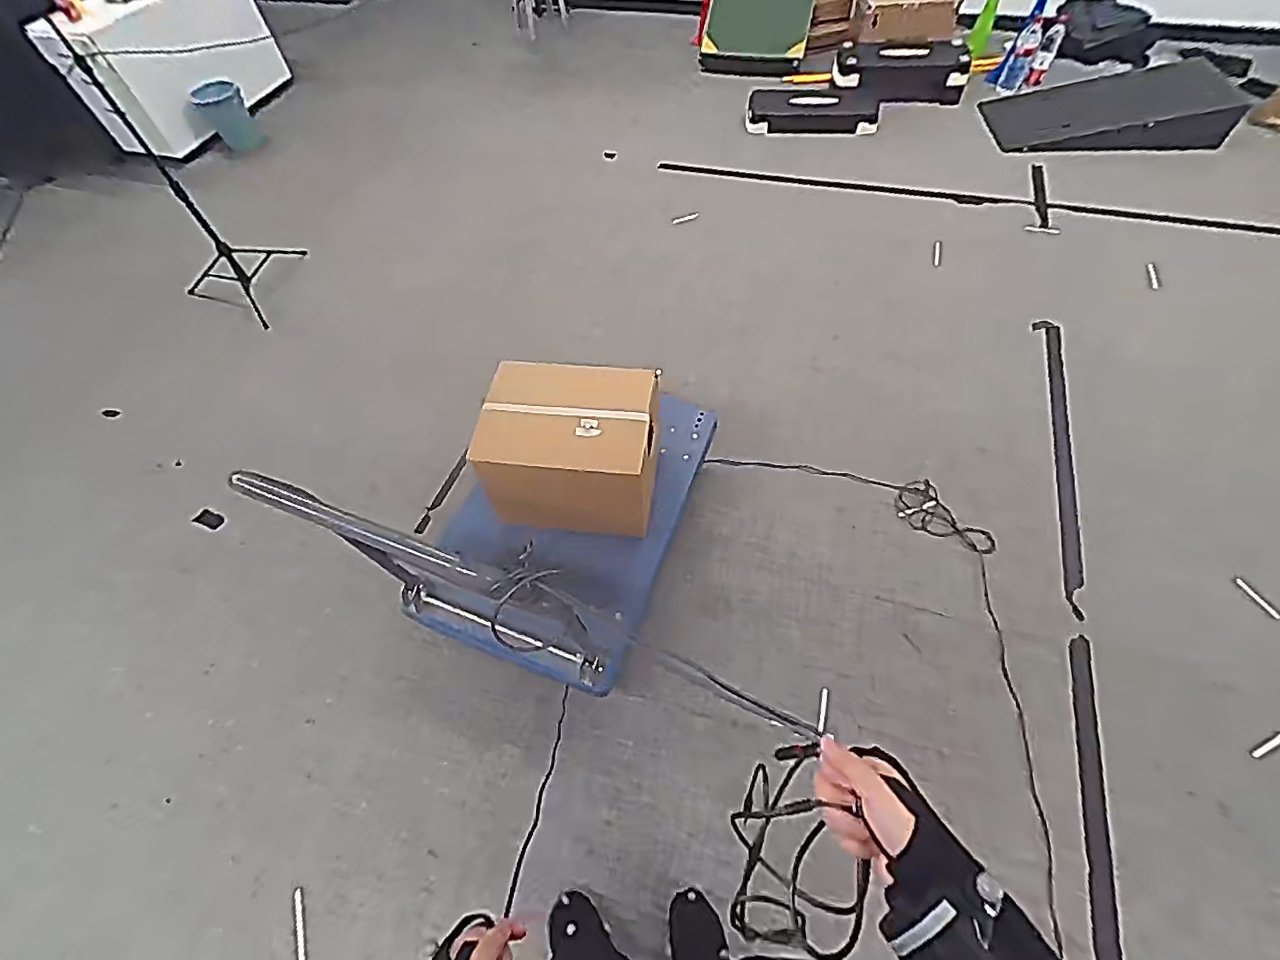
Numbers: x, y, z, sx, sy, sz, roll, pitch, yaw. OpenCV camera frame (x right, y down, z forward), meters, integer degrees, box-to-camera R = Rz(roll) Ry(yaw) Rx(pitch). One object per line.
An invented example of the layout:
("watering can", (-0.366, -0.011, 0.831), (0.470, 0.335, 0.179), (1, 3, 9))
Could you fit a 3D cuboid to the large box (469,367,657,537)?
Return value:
("large box", (-0.171, -0.067, 1.404), (0.408, 0.320, 0.320), (5, 58, 6))
